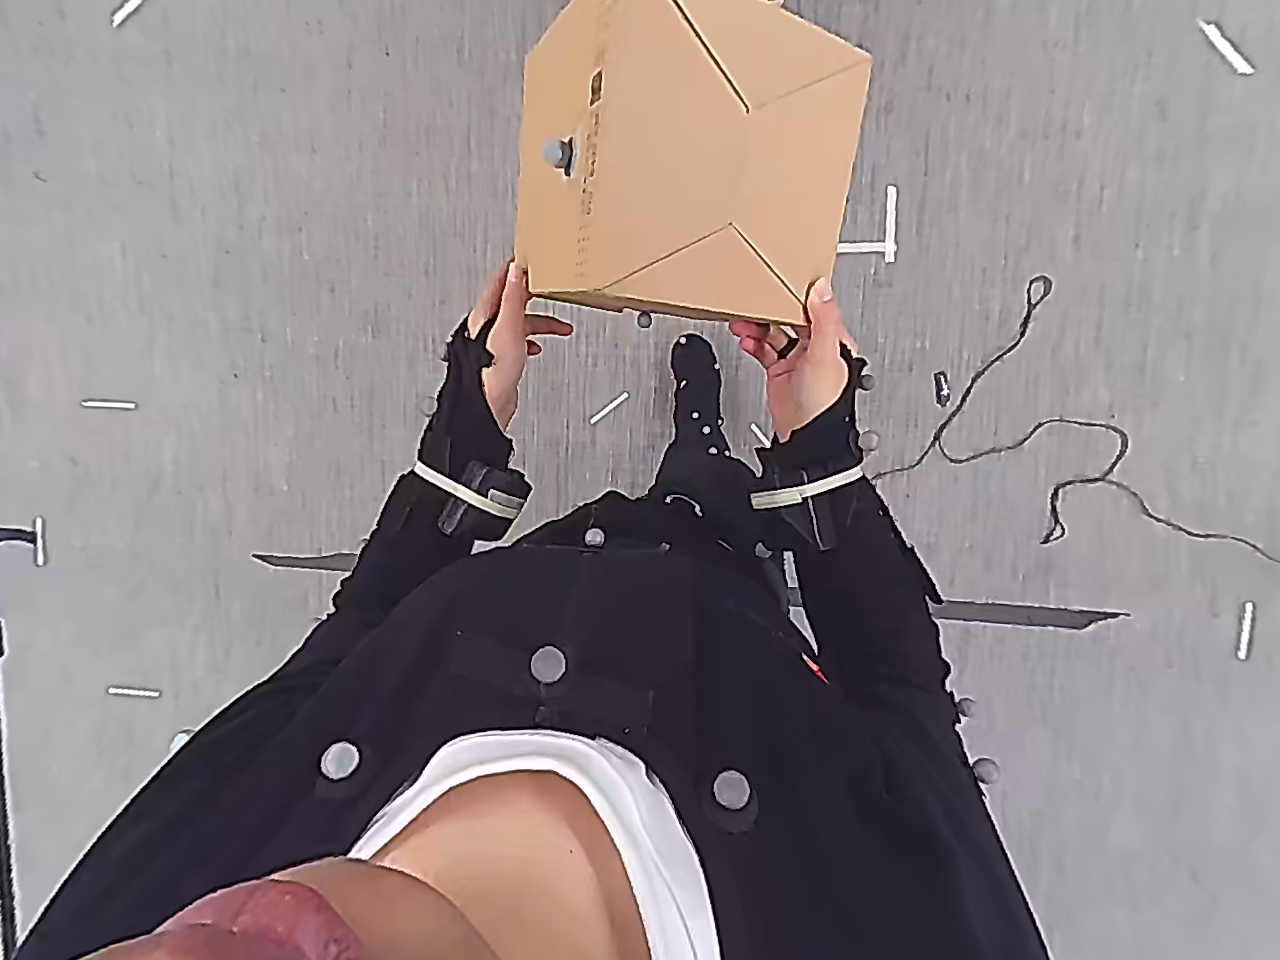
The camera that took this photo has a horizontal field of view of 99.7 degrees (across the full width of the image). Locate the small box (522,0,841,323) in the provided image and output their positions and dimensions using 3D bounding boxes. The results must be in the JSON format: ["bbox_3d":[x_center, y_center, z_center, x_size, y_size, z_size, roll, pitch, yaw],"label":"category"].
[{"bbox_3d":[0.025,-0.211,0.397,0.179,0.176,0.168,-1,106,-29],"label":"small box"}]
